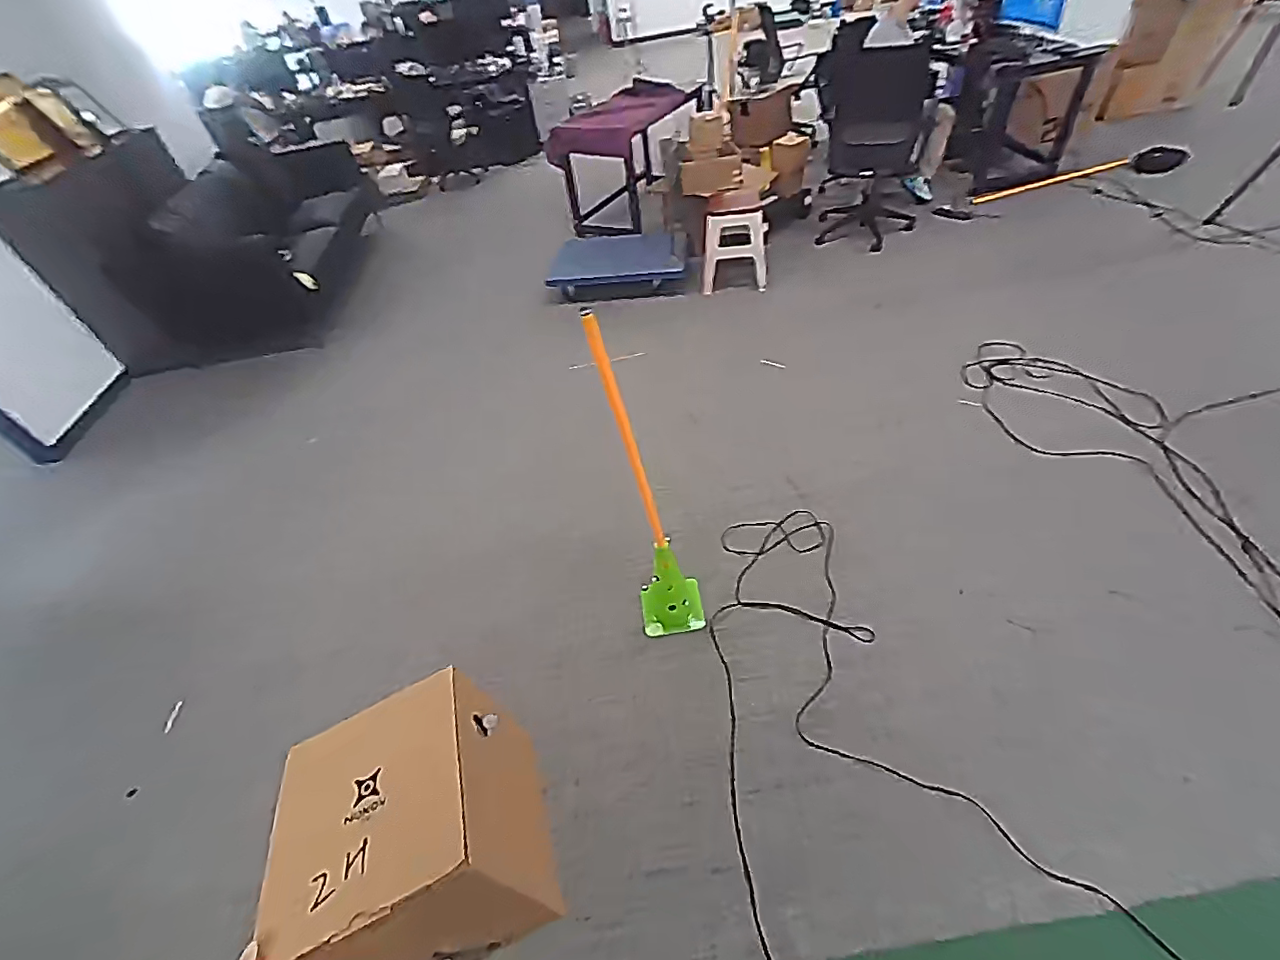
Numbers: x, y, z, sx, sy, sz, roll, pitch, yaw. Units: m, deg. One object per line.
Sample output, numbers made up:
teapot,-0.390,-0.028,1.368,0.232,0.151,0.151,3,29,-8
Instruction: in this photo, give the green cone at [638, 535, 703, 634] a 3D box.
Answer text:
green cone,0.081,0.302,1.697,0.202,0.368,0.200,-9,46,0
